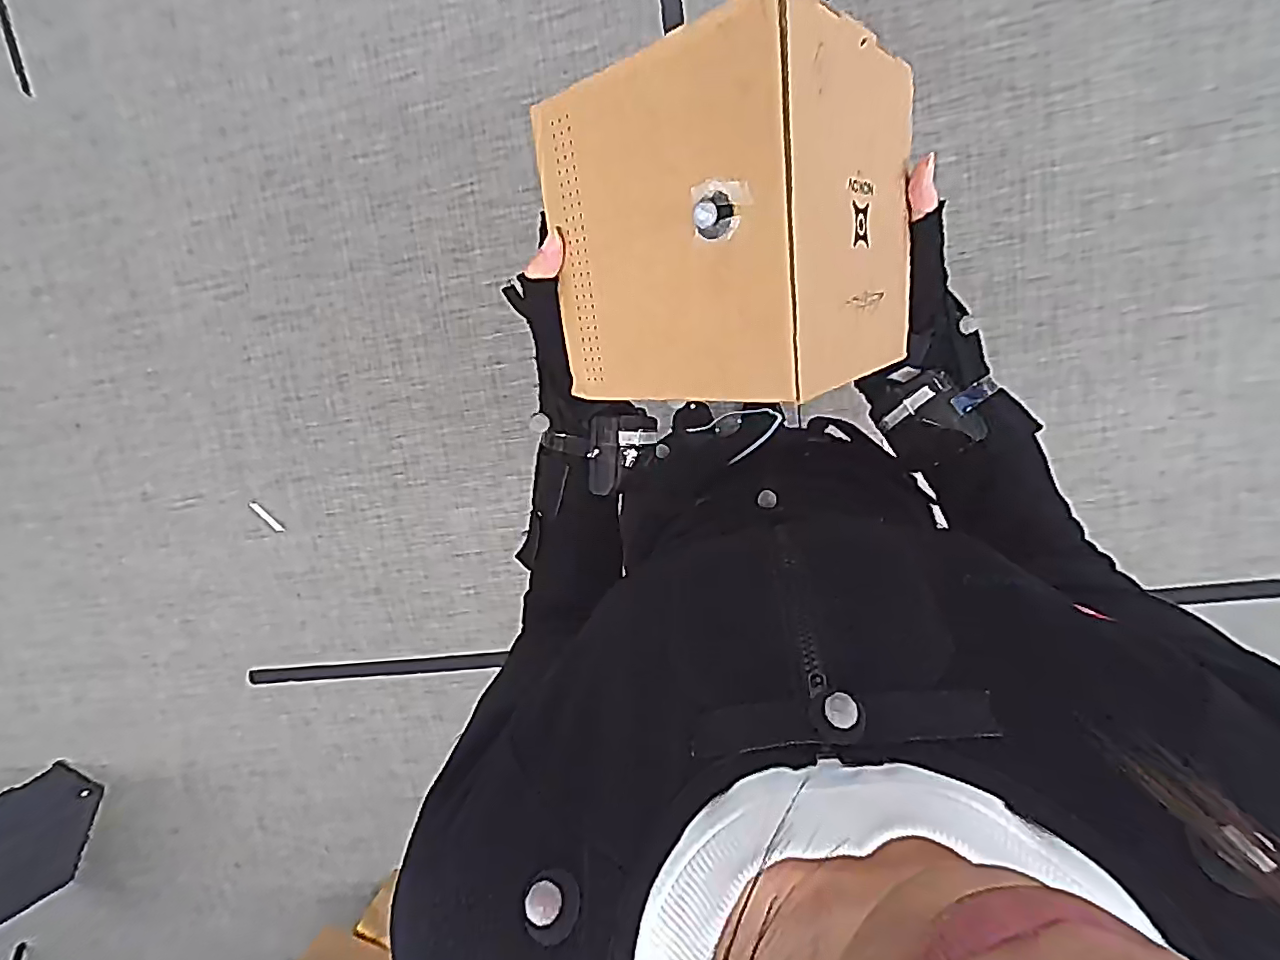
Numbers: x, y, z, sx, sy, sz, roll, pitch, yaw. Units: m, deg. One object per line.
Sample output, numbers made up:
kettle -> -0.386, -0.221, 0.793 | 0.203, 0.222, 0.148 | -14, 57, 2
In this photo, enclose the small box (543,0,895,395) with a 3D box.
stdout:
small box -> 0.055, -0.156, 0.359 | 0.176, 0.168, 0.179 | 8, 112, 41
